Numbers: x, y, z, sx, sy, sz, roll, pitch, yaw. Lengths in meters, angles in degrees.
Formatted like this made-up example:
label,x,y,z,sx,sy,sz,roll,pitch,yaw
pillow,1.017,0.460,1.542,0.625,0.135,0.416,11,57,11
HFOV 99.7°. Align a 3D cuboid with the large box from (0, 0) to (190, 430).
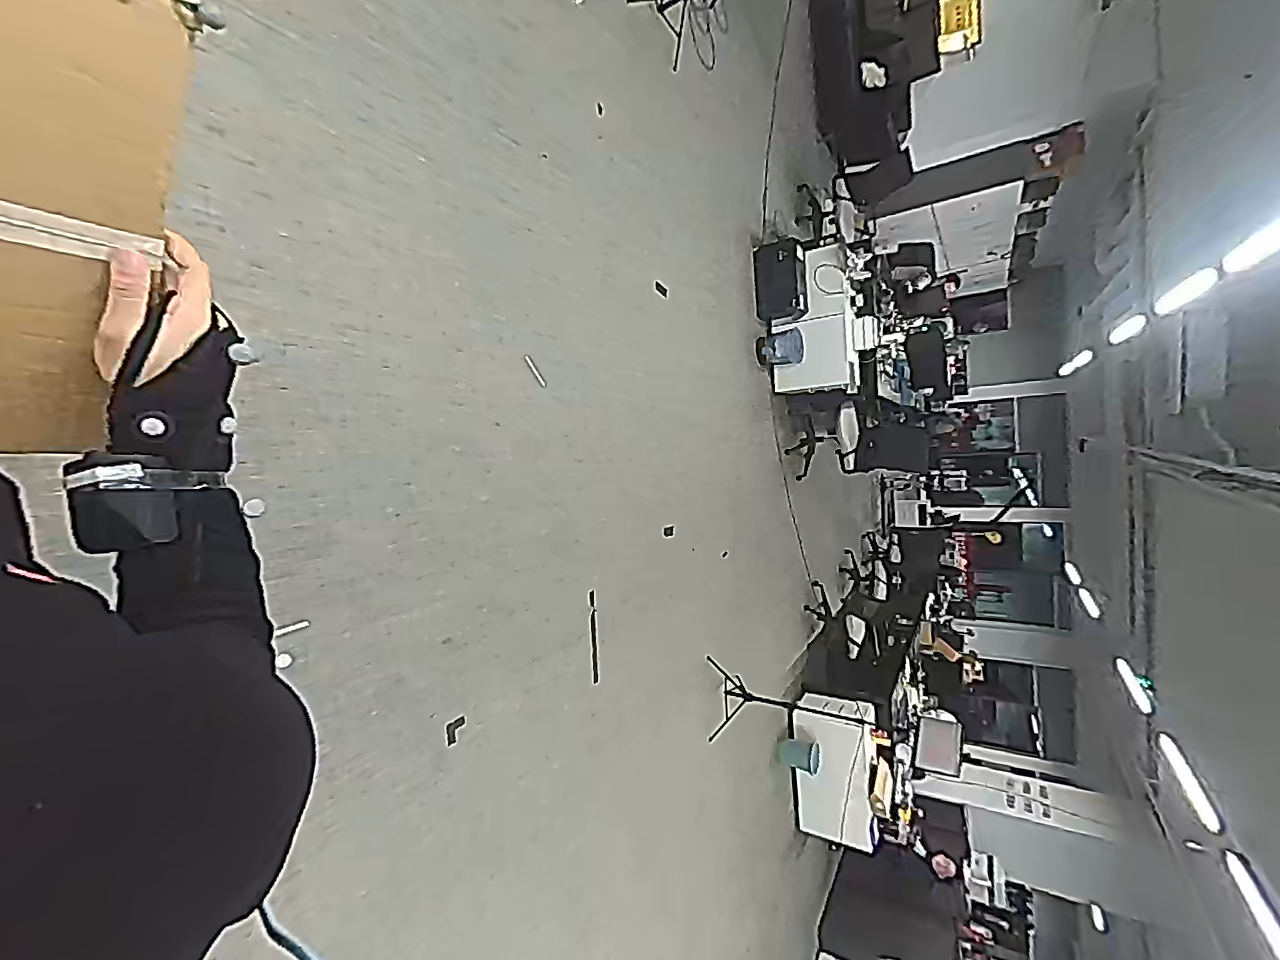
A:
label,x,y,z,sx,sy,sz,roll,pitch,yaw
large box,-0.541,-0.235,0.263,0.408,0.320,0.320,-5,131,-57
